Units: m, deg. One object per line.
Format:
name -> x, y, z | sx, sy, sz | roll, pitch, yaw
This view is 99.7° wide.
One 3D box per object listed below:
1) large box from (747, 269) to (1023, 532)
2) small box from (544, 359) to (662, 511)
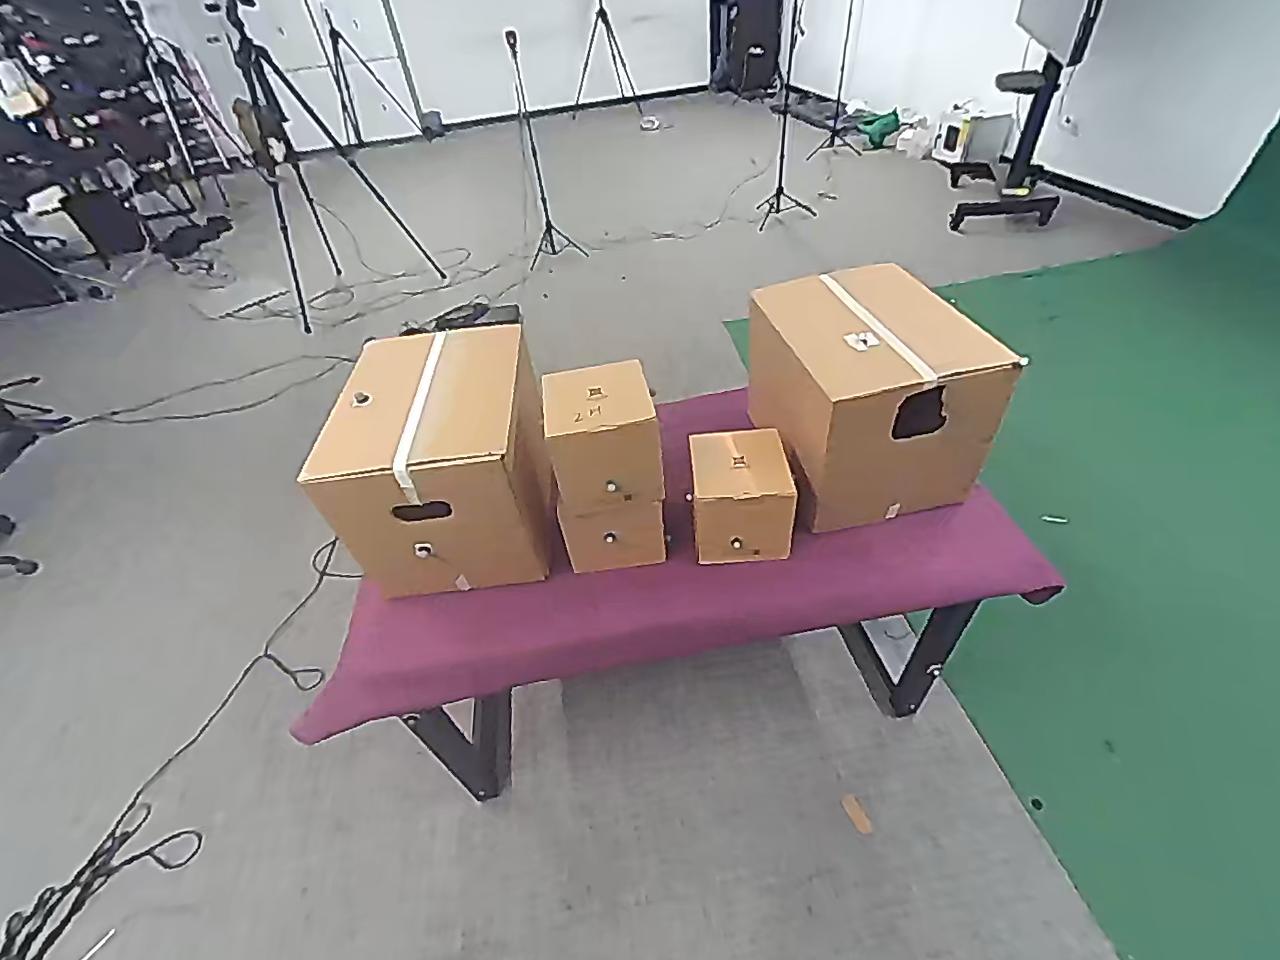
large box -> 0.423, -0.166, 1.067 | 0.320, 0.320, 0.408 | -12, 44, -2
small box -> -0.062, -0.075, 0.895 | 0.168, 0.176, 0.179 | -10, 43, -2
